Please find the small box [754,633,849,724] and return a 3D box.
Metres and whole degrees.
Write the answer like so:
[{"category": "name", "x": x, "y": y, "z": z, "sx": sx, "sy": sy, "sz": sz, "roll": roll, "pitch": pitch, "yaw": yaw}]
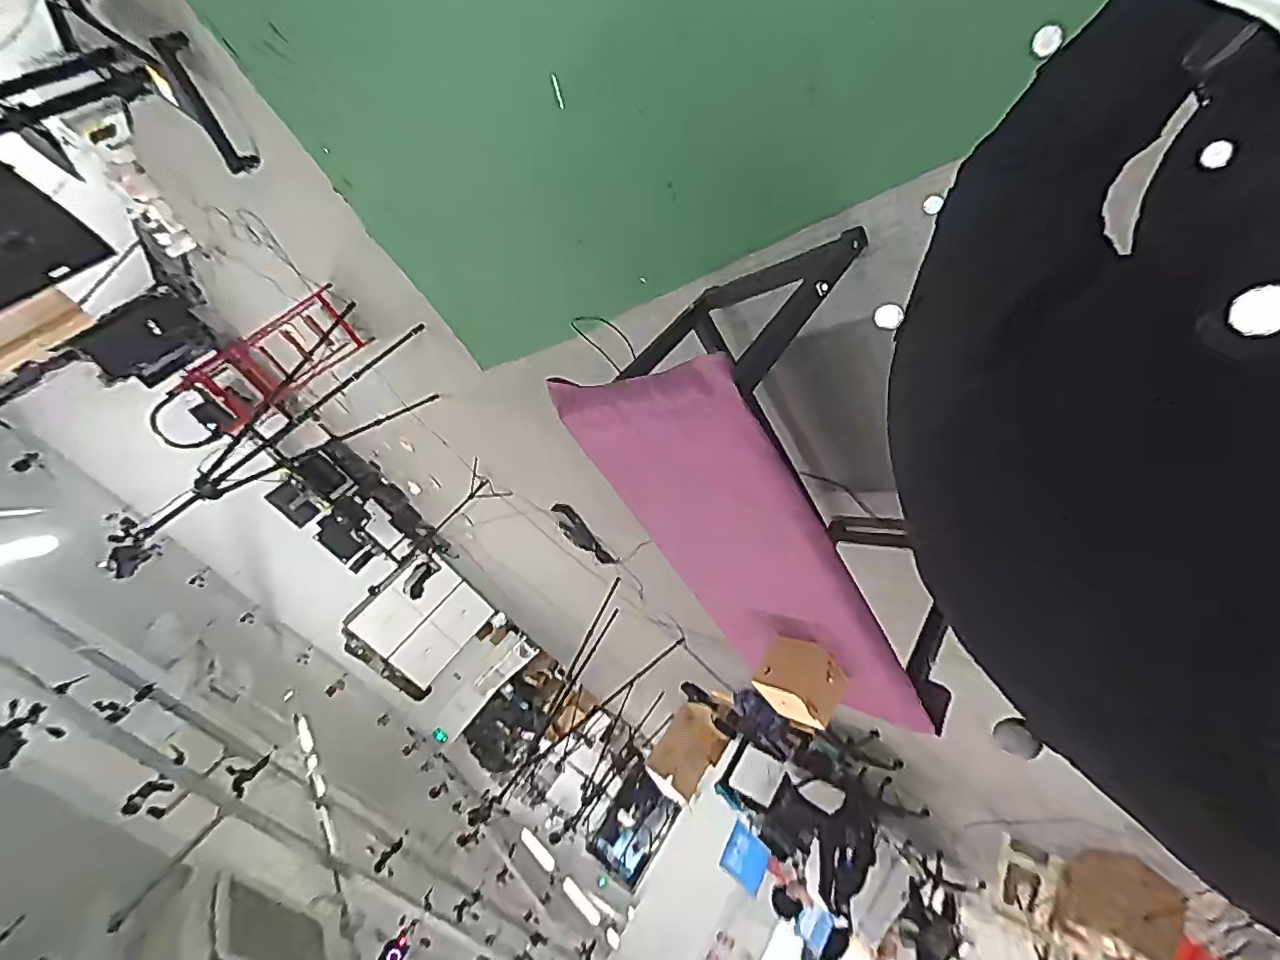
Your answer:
[{"category": "small box", "x": 0.474, "y": 0.571, "z": 1.579, "sx": 0.168, "sy": 0.176, "sz": 0.179, "roll": 50, "pitch": 153, "yaw": -19}]
